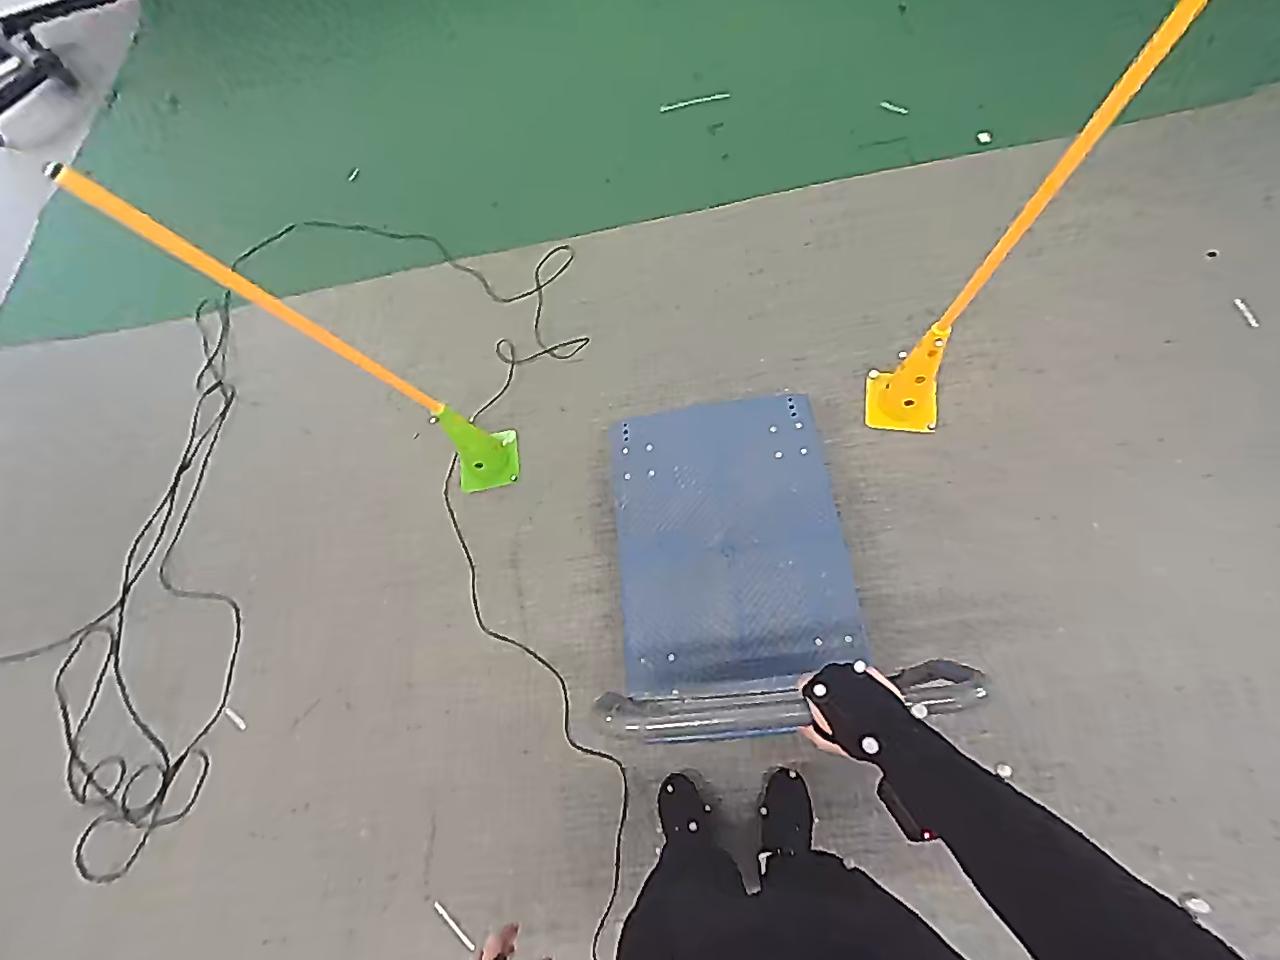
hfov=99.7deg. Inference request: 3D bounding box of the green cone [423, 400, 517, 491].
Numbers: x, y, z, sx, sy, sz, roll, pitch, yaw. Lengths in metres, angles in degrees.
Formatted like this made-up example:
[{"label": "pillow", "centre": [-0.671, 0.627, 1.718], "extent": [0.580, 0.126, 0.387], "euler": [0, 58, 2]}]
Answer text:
[{"label": "green cone", "centre": [-0.541, -0.138, 1.644], "extent": [0.202, 0.368, 0.200], "euler": [-13, 65, 5]}]
